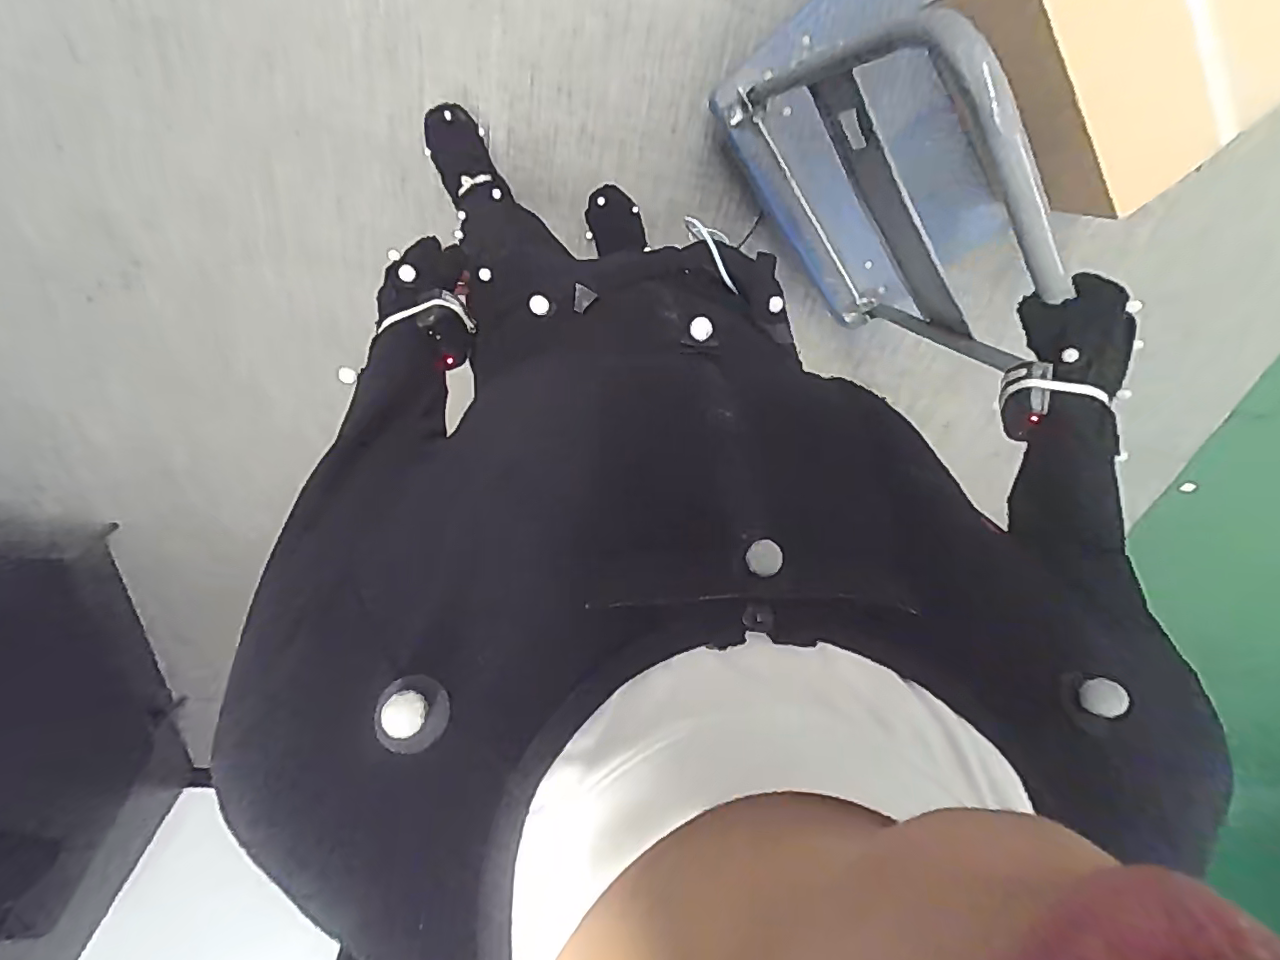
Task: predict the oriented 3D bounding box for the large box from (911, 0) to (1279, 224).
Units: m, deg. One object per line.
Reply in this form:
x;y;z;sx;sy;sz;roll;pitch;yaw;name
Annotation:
0.725;-0.693;0.864;0.320;0.320;0.408;-39;116;17;large box
